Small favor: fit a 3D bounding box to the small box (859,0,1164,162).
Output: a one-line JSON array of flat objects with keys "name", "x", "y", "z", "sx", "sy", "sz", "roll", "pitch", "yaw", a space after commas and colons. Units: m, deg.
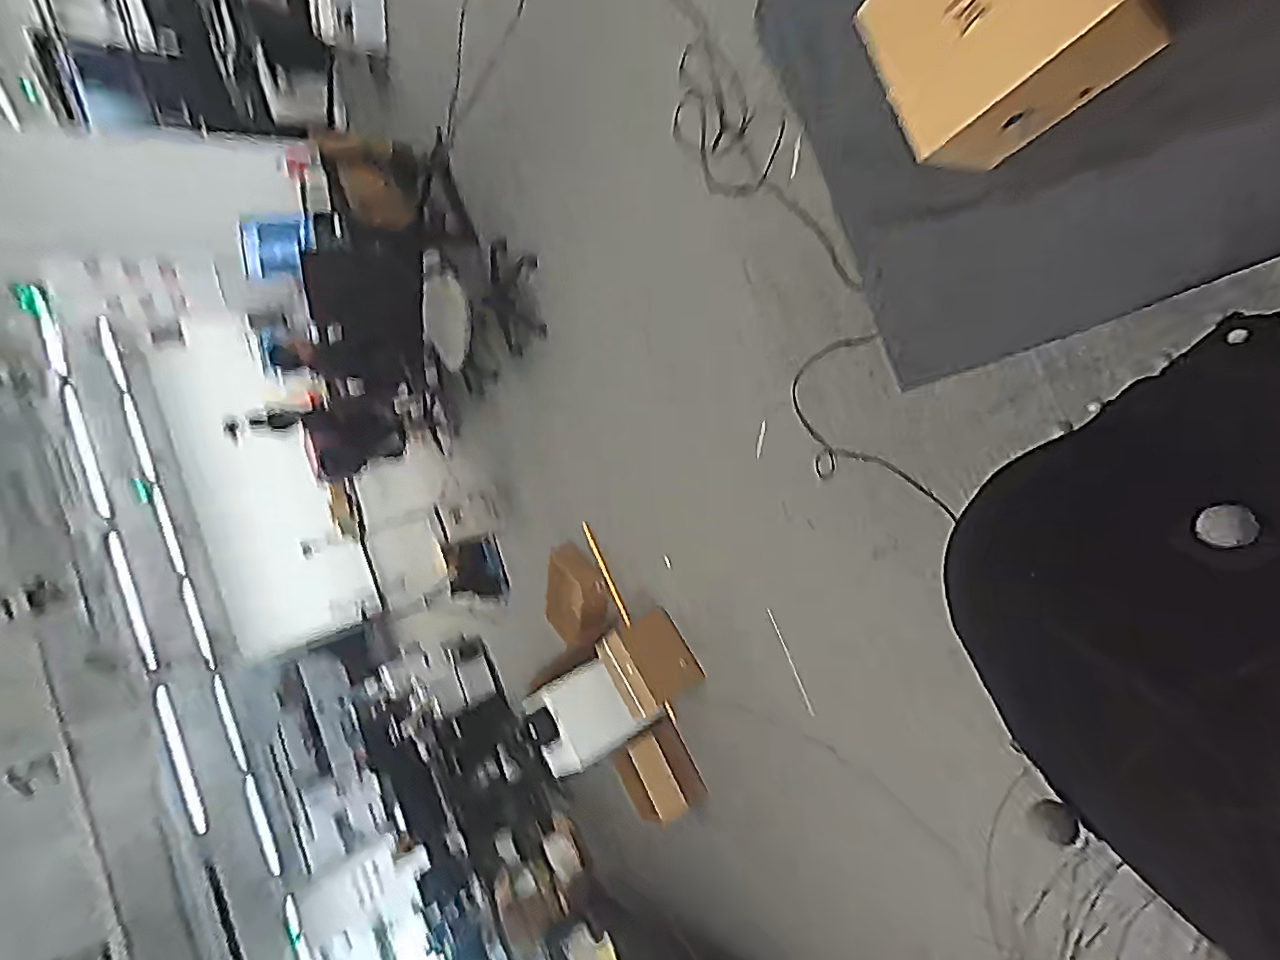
[{"name": "small box", "x": 0.360, "y": -0.445, "z": 0.529, "sx": 0.168, "sy": 0.176, "sz": 0.179, "roll": -28, "pitch": 81, "yaw": 56}]
